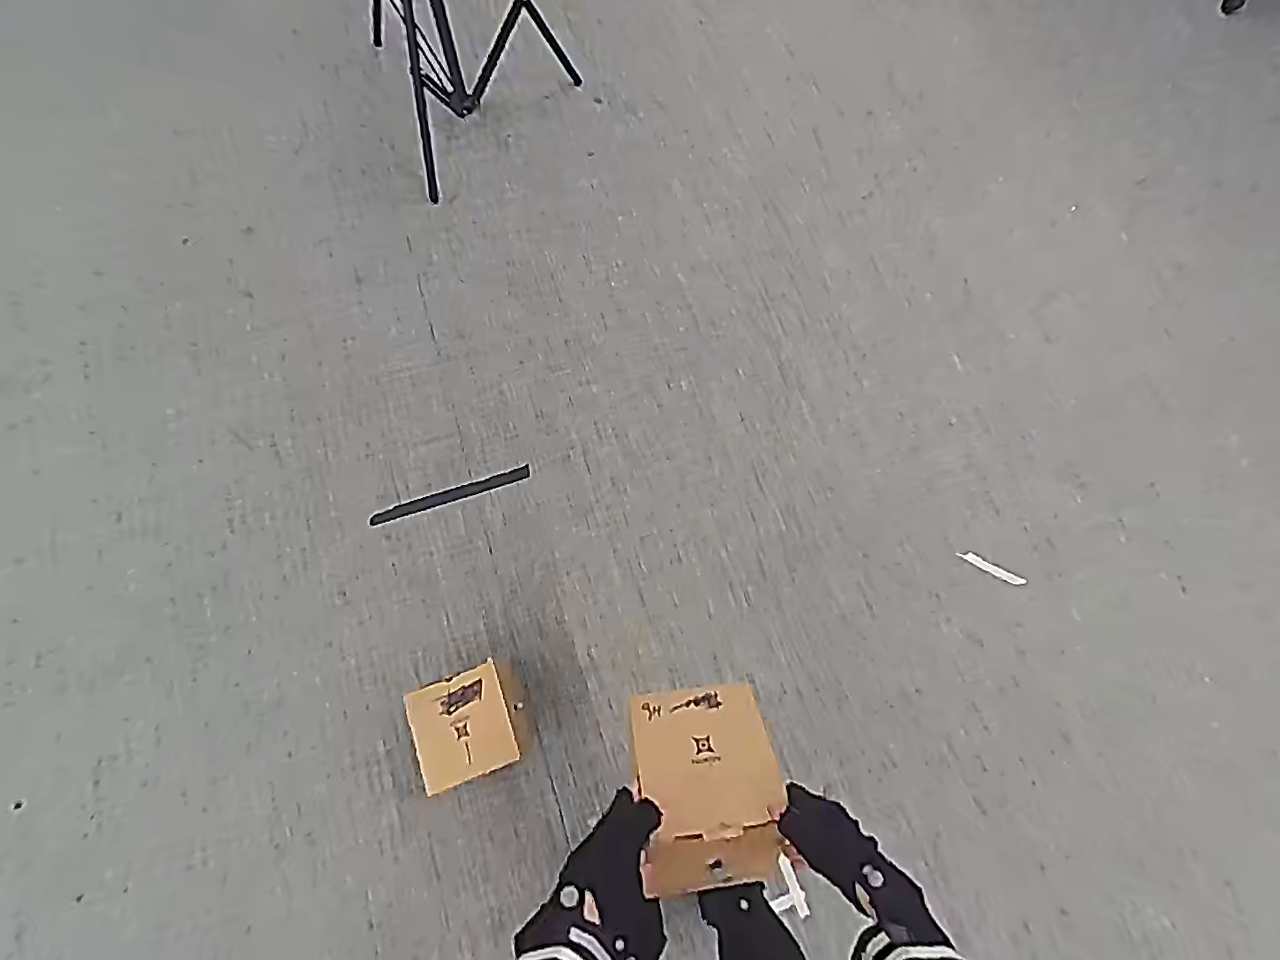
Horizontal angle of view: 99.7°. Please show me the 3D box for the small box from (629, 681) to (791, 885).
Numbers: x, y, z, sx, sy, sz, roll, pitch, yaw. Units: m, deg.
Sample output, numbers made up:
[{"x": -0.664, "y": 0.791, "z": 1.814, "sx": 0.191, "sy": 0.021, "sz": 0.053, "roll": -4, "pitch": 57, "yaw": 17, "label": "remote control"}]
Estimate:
[{"x": 0.077, "y": 0.389, "z": 0.695, "sx": 0.168, "sy": 0.176, "sz": 0.179, "roll": -4, "pitch": 37, "yaw": -6, "label": "small box"}]

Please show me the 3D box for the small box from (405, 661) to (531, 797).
[{"x": -0.314, "y": 0.453, "z": 1.013, "sx": 0.168, "sy": 0.176, "sz": 0.179, "roll": -19, "pitch": 76, "yaw": -9, "label": "small box"}]
